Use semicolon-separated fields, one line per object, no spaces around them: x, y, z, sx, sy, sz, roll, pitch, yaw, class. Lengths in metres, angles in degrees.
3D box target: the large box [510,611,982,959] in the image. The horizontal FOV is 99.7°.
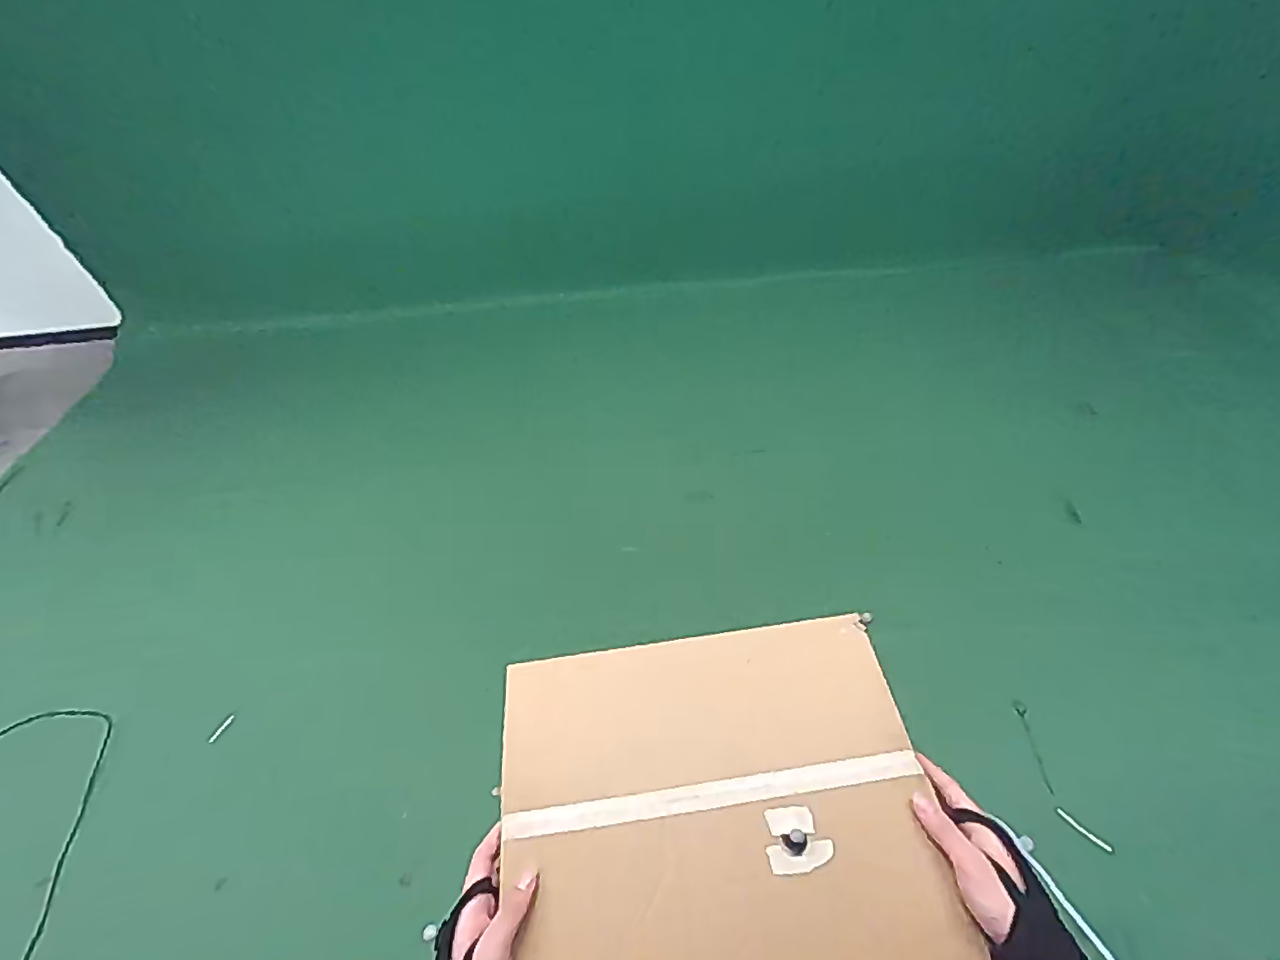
0.079;0.394;0.646;0.408;0.320;0.320;-8;51;-2;large box
